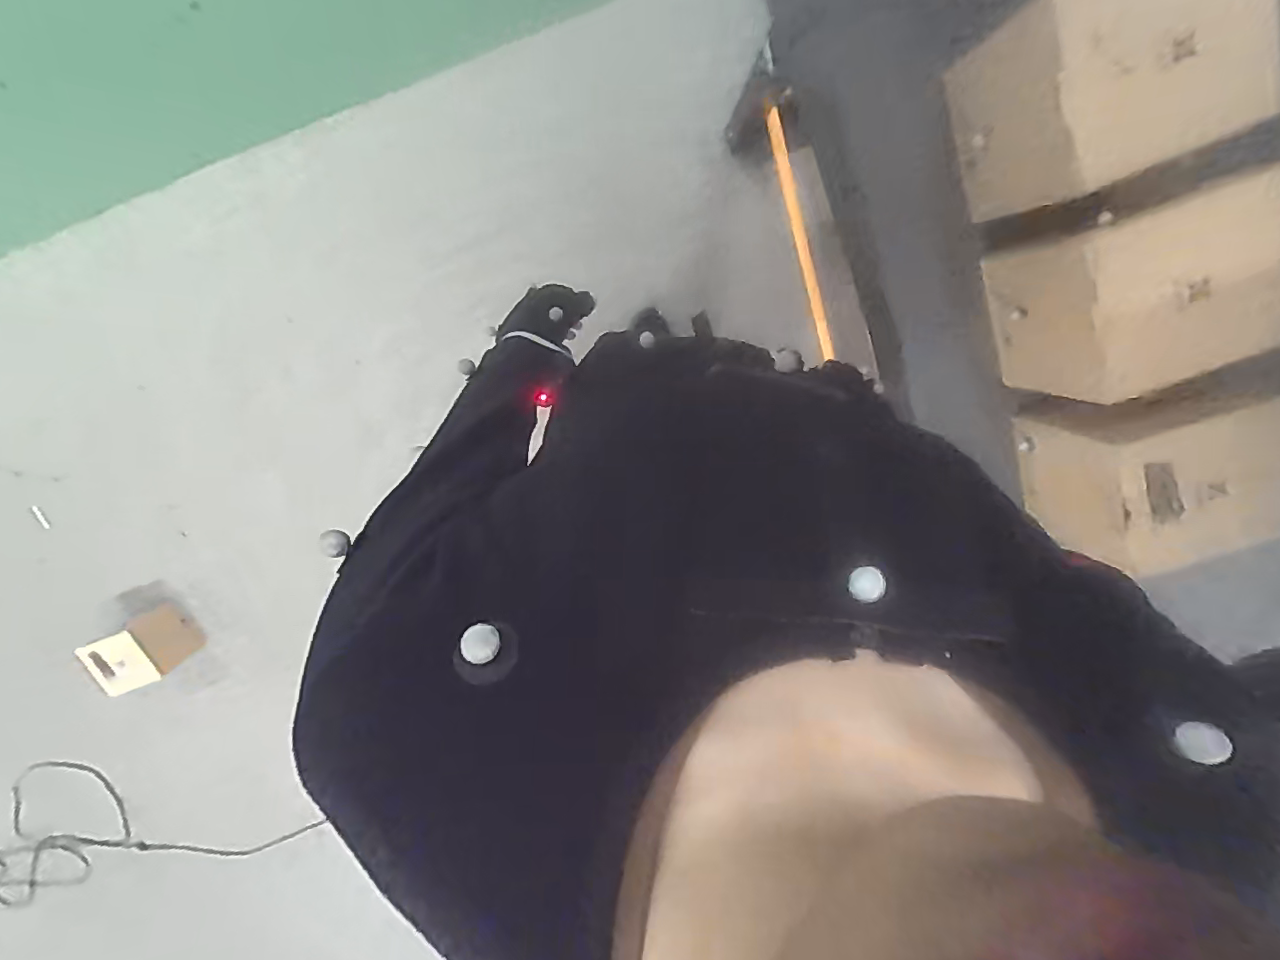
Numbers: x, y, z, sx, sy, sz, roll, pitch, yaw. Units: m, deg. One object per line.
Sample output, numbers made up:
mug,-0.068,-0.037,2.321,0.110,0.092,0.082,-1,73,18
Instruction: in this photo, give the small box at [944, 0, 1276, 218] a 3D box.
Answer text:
small box,0.442,-0.384,0.533,0.179,0.176,0.168,-21,105,6
